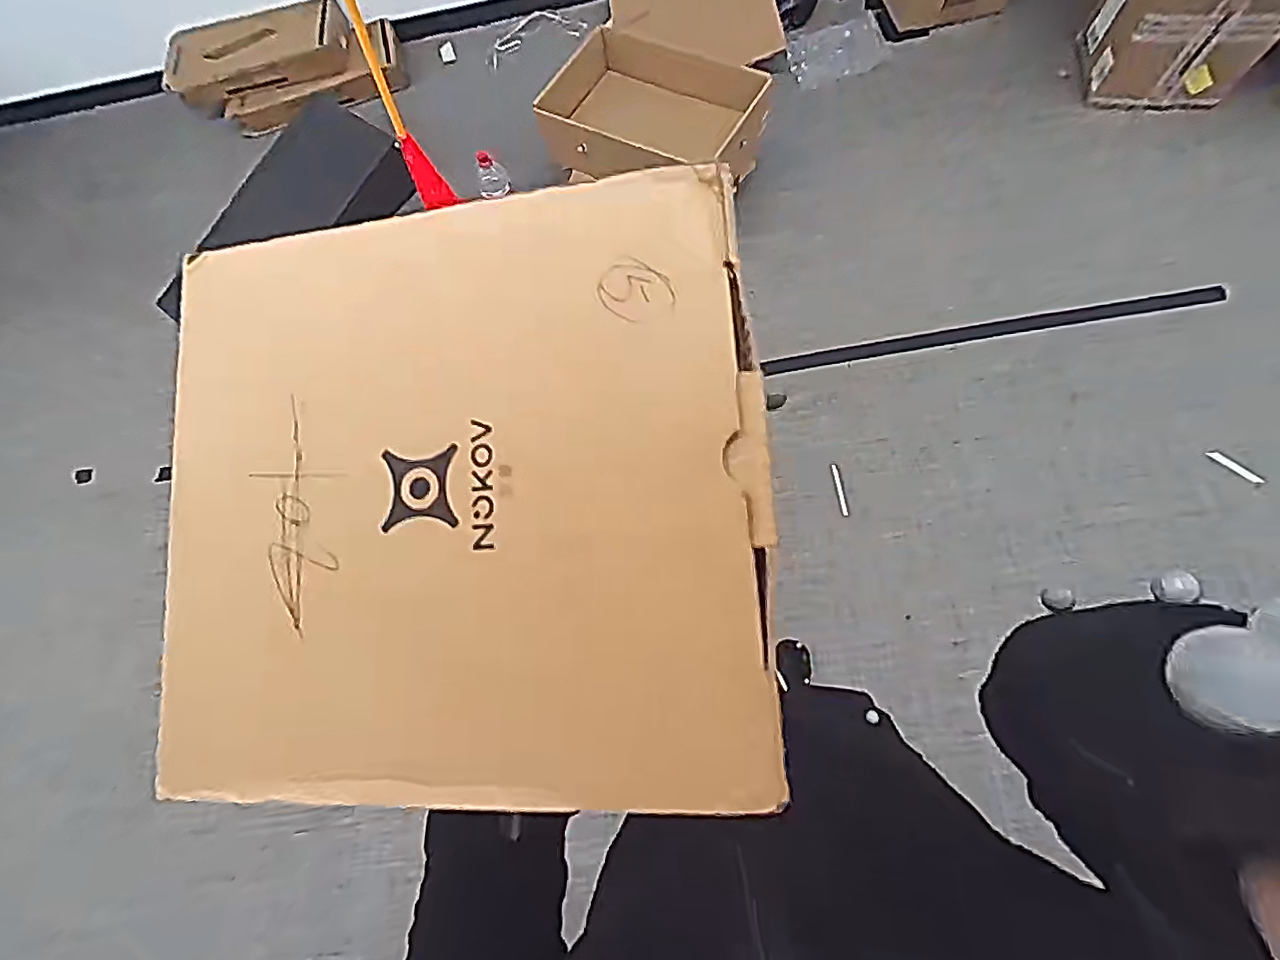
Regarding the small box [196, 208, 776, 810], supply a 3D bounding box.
[{"bbox_3d":[-0.040,0.018,0.238,0.179,0.176,0.168,-5,81,12],"label":"small box"}]
